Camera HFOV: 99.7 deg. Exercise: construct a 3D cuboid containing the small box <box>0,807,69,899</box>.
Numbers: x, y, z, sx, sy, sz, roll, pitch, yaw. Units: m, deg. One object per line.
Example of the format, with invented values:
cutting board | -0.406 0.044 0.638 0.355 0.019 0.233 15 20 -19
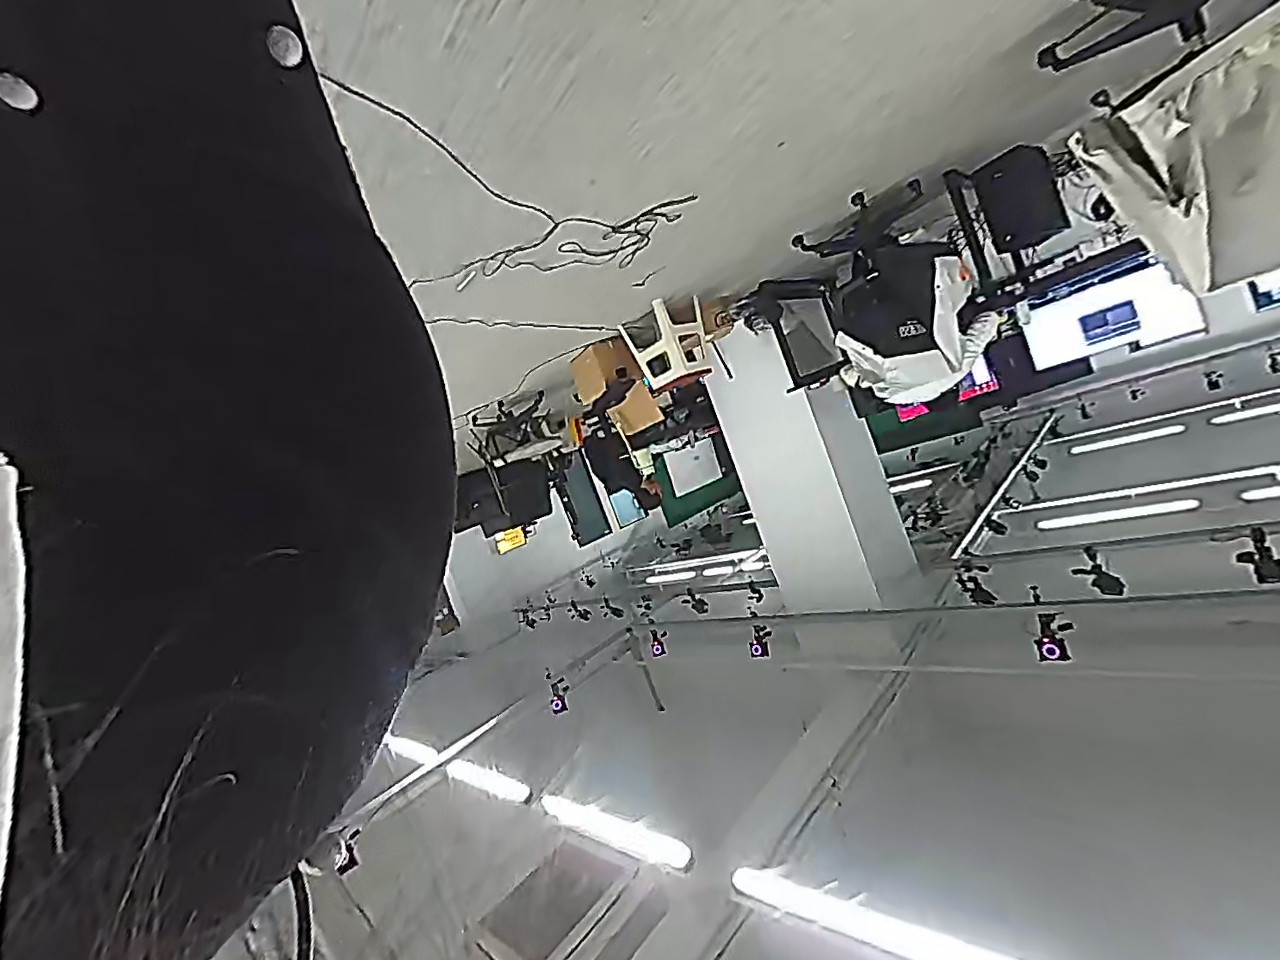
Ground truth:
small box | -1.931 1.160 1.682 0.168 0.176 0.179 -21 -177 -41
